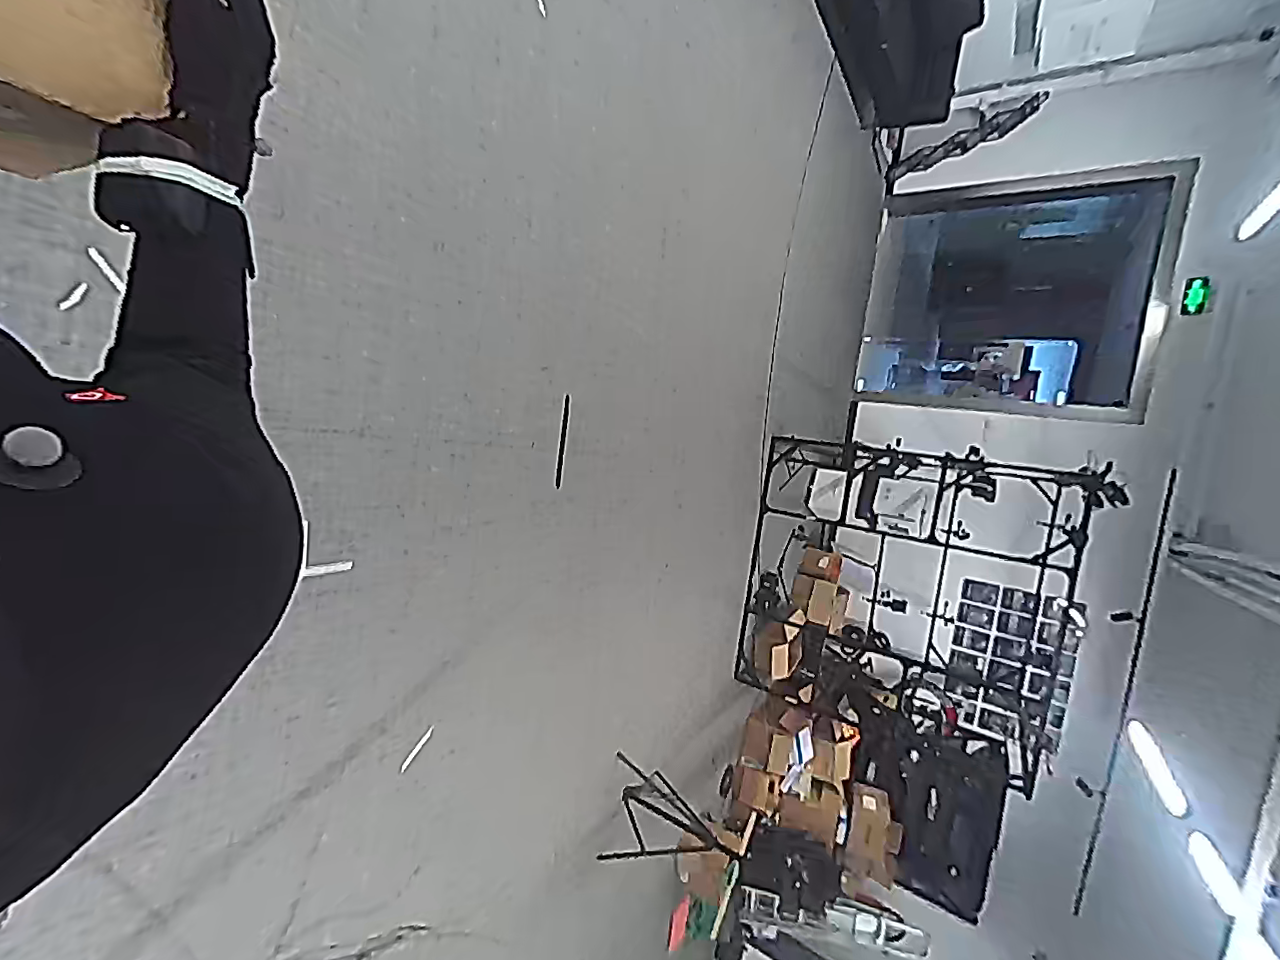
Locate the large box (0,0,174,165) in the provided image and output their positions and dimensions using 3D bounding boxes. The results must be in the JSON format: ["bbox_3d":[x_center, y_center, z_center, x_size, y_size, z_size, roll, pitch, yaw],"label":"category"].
[{"bbox_3d":[-0.552,-0.426,0.281,0.408,0.320,0.320,-1,104,-61],"label":"large box"}]
